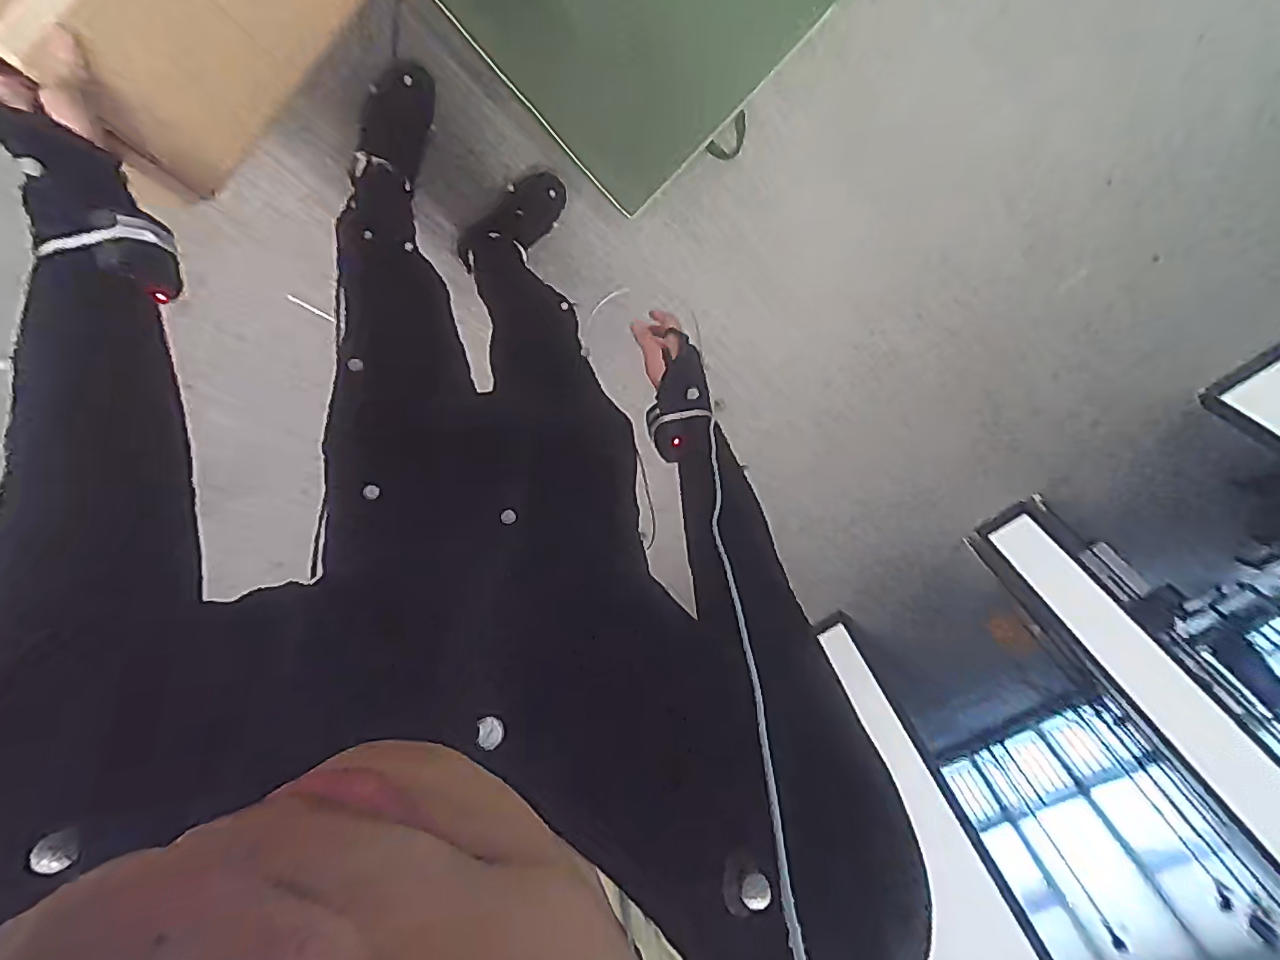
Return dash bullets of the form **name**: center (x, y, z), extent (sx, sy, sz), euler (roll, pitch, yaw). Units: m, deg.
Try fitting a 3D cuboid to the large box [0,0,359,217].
- **large box**: center (-0.548, -0.564, 0.583), extent (0.320, 0.320, 0.408), euler (37, 76, -49)
